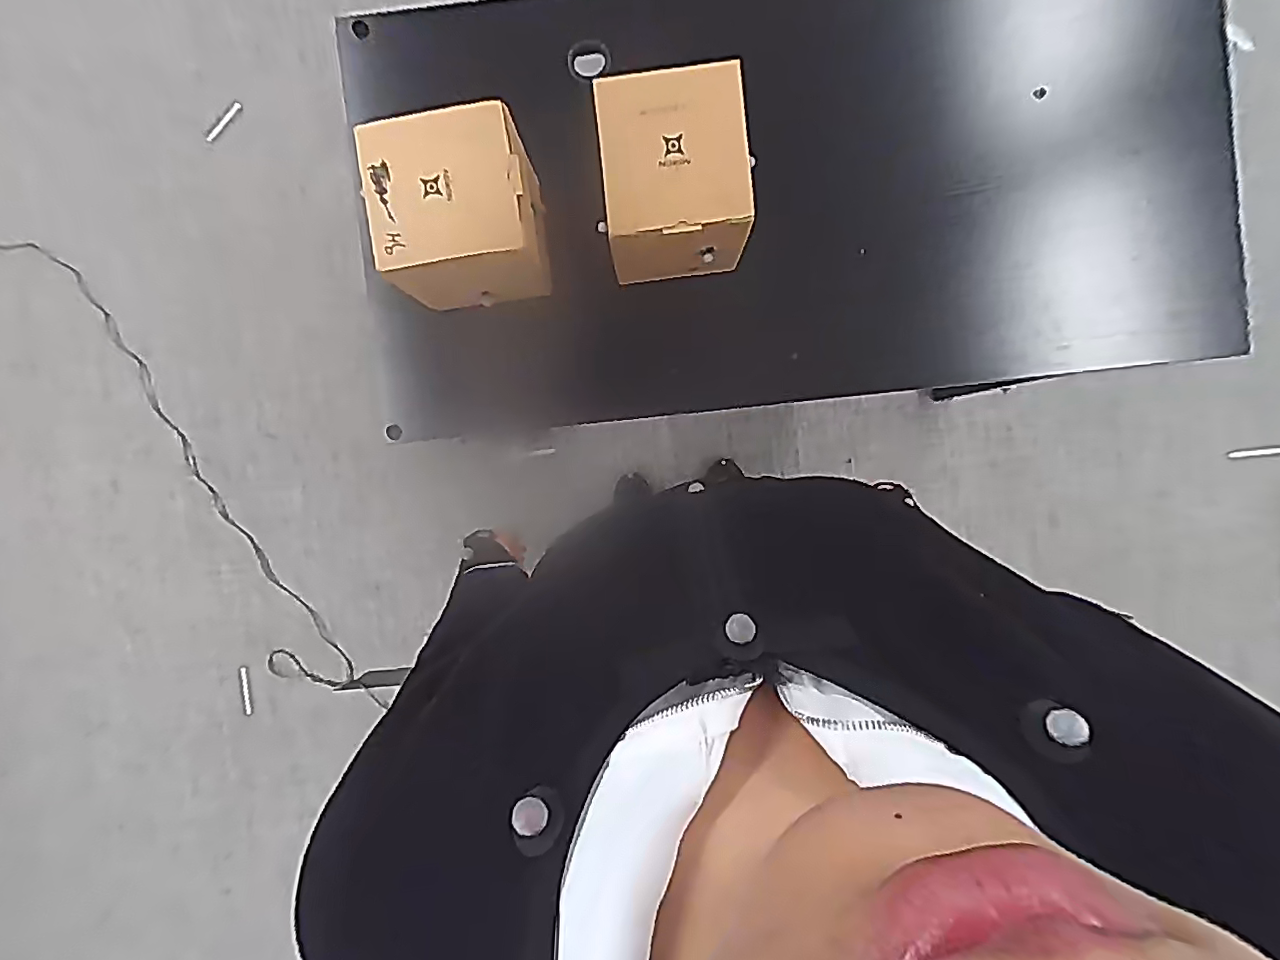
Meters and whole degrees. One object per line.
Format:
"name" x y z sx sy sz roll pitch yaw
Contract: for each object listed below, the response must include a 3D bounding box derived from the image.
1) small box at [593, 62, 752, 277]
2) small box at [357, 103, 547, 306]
"small box" 0.038 -0.370 0.681 0.168 0.176 0.179 -7 91 1
"small box" -0.221 -0.333 0.687 0.179 0.176 0.168 -8 92 1
